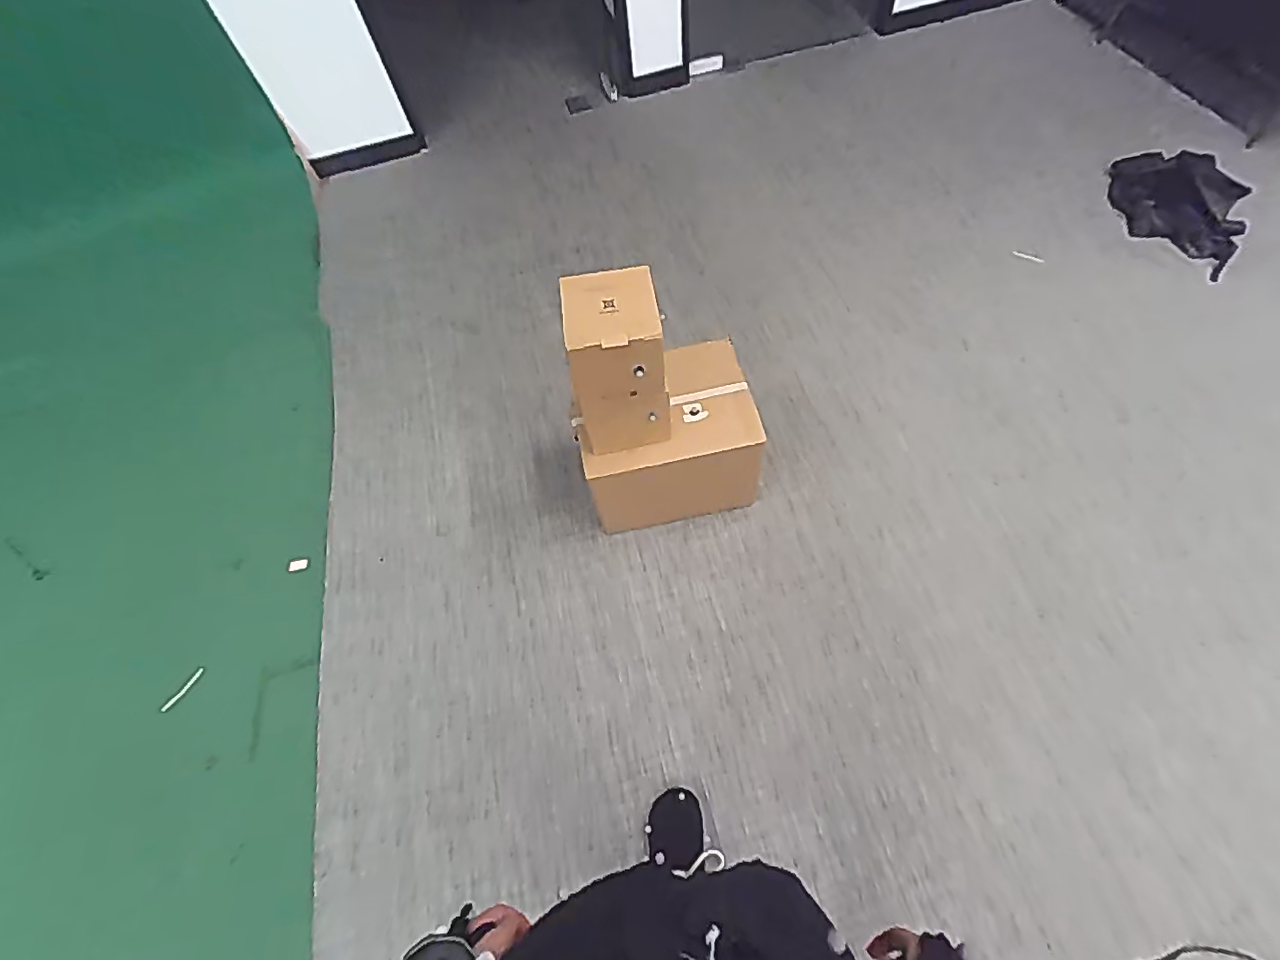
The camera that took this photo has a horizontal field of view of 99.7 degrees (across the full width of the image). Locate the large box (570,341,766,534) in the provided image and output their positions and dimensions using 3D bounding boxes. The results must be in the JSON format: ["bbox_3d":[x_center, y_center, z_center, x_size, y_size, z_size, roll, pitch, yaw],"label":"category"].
[{"bbox_3d":[0.062,-0.096,1.365,0.408,0.320,0.320,-12,62,-2],"label":"large box"}]

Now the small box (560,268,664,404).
[{"bbox_3d":[-0.048,-0.256,0.998,0.168,0.176,0.179,-8,60,-2],"label":"small box"}]
